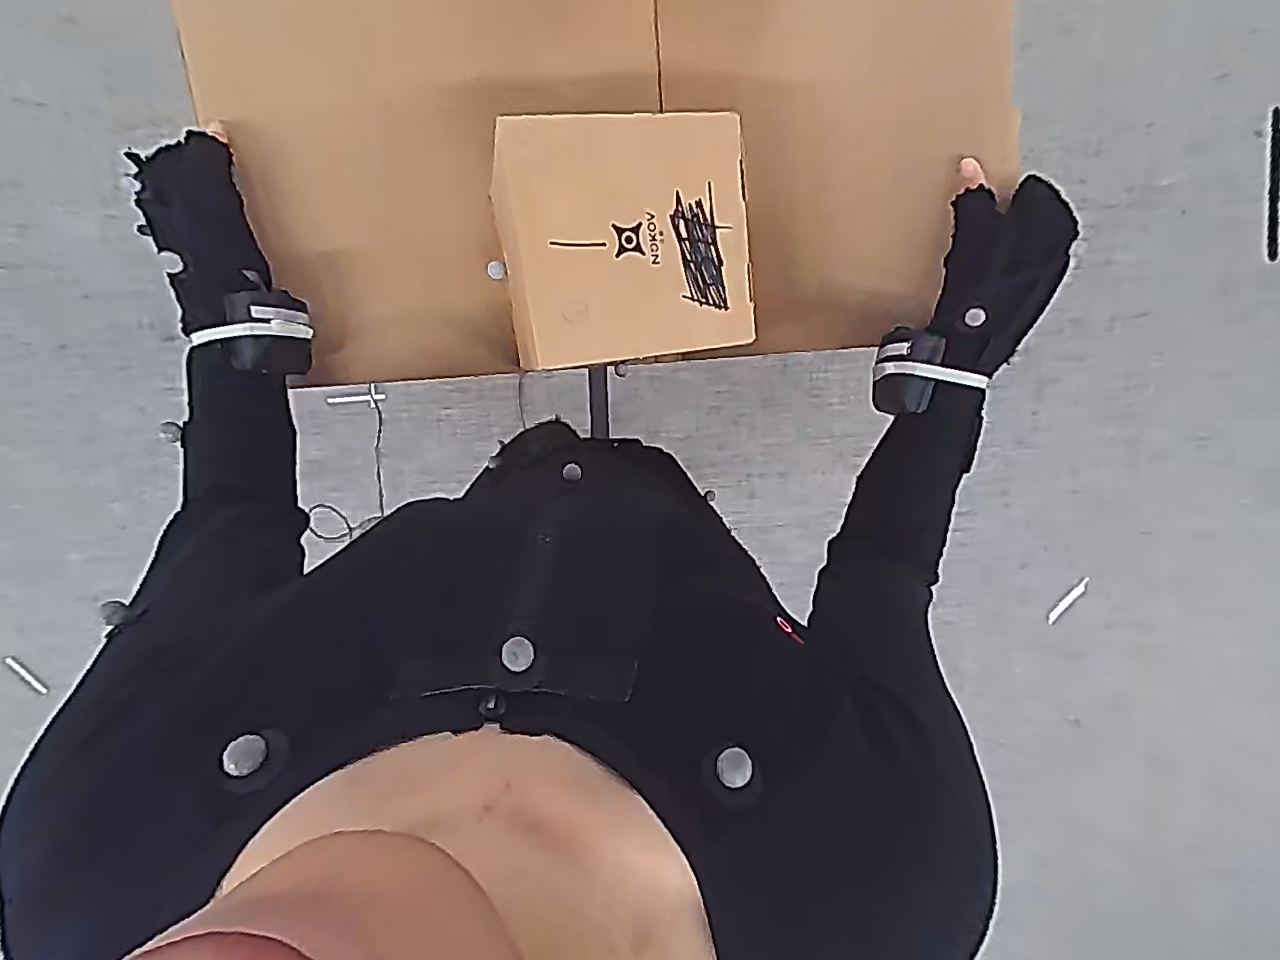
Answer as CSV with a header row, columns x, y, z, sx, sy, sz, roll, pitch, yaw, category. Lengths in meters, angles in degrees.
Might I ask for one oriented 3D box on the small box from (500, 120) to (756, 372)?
x,y,z,sx,sy,sz,roll,pitch,yaw,category
-0.019,-0.189,0.472,0.179,0.176,0.168,-10,104,-14,small box
